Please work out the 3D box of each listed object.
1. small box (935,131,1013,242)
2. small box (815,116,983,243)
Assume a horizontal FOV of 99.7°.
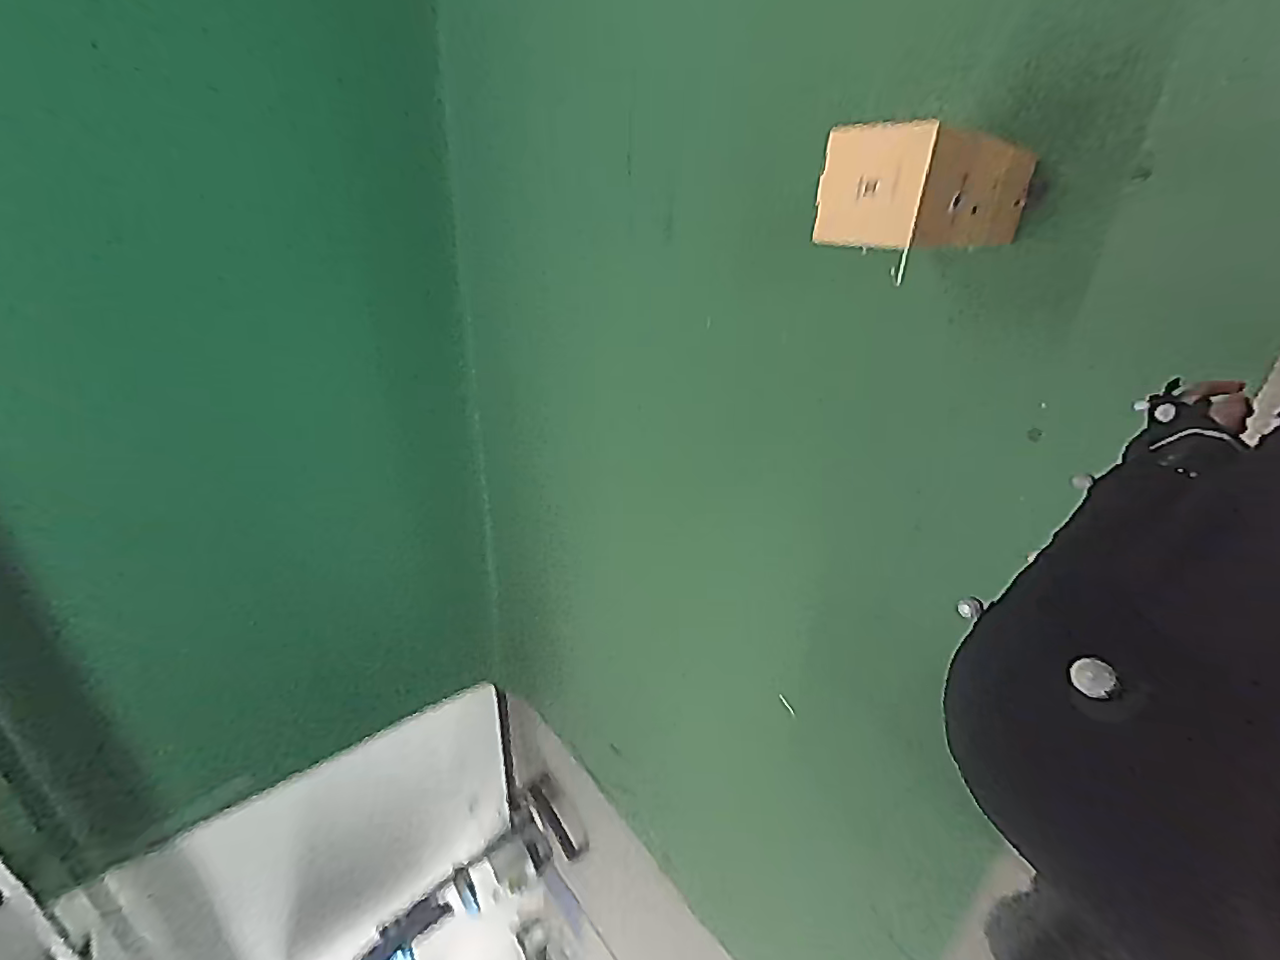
[{"bbox_3d":[0.540,-0.534,0.987,0.179,0.176,0.168,31,128,41],"label":"small box"},{"bbox_3d":[0.420,-0.485,0.888,0.179,0.176,0.168,28,127,42],"label":"small box"}]
